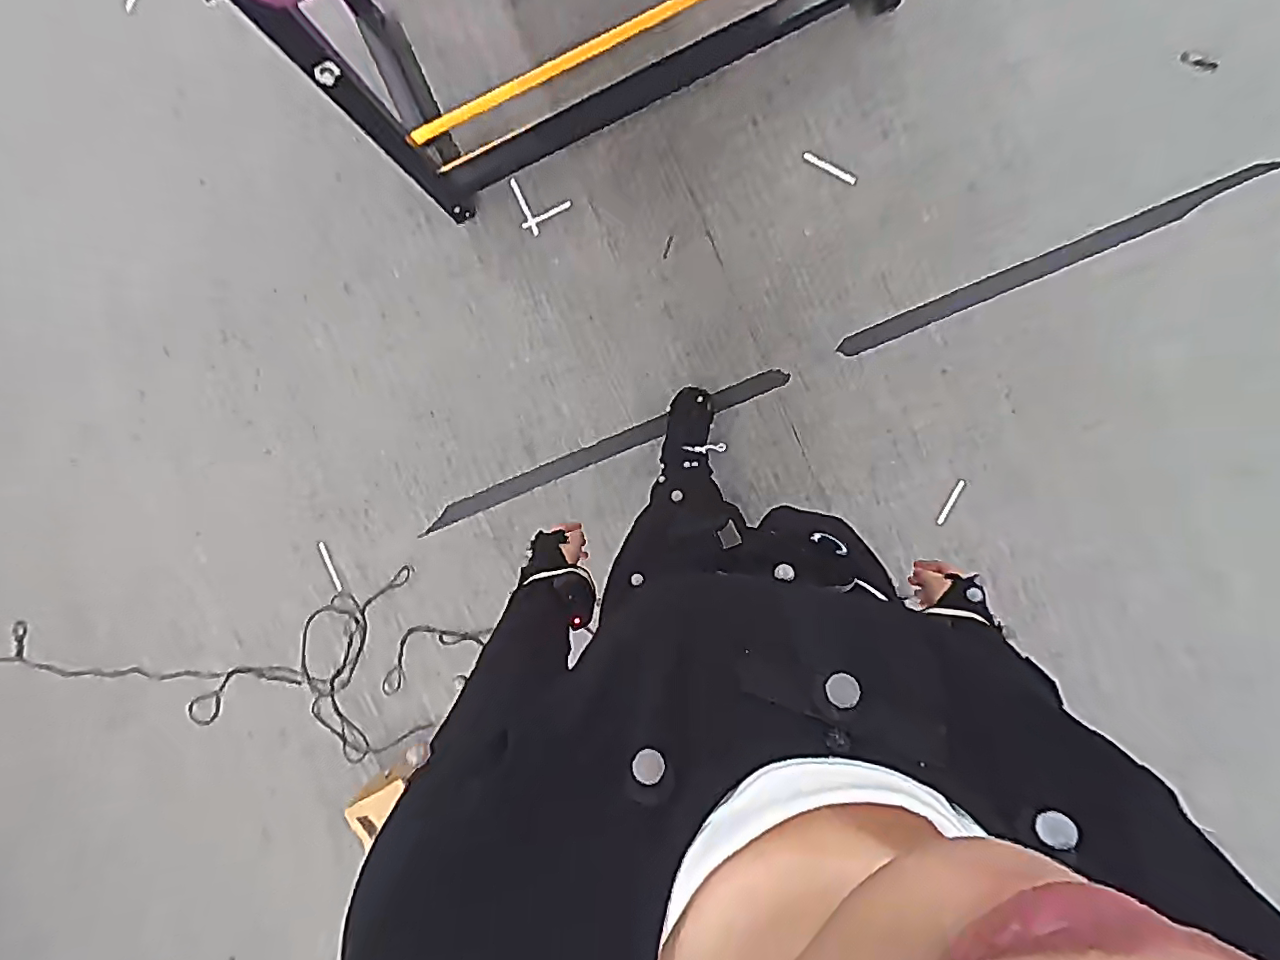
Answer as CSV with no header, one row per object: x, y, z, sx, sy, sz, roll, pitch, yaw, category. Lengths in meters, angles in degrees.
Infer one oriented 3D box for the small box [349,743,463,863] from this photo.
-0.594,0.823,1.394,0.179,0.176,0.168,-30,91,5,small box
